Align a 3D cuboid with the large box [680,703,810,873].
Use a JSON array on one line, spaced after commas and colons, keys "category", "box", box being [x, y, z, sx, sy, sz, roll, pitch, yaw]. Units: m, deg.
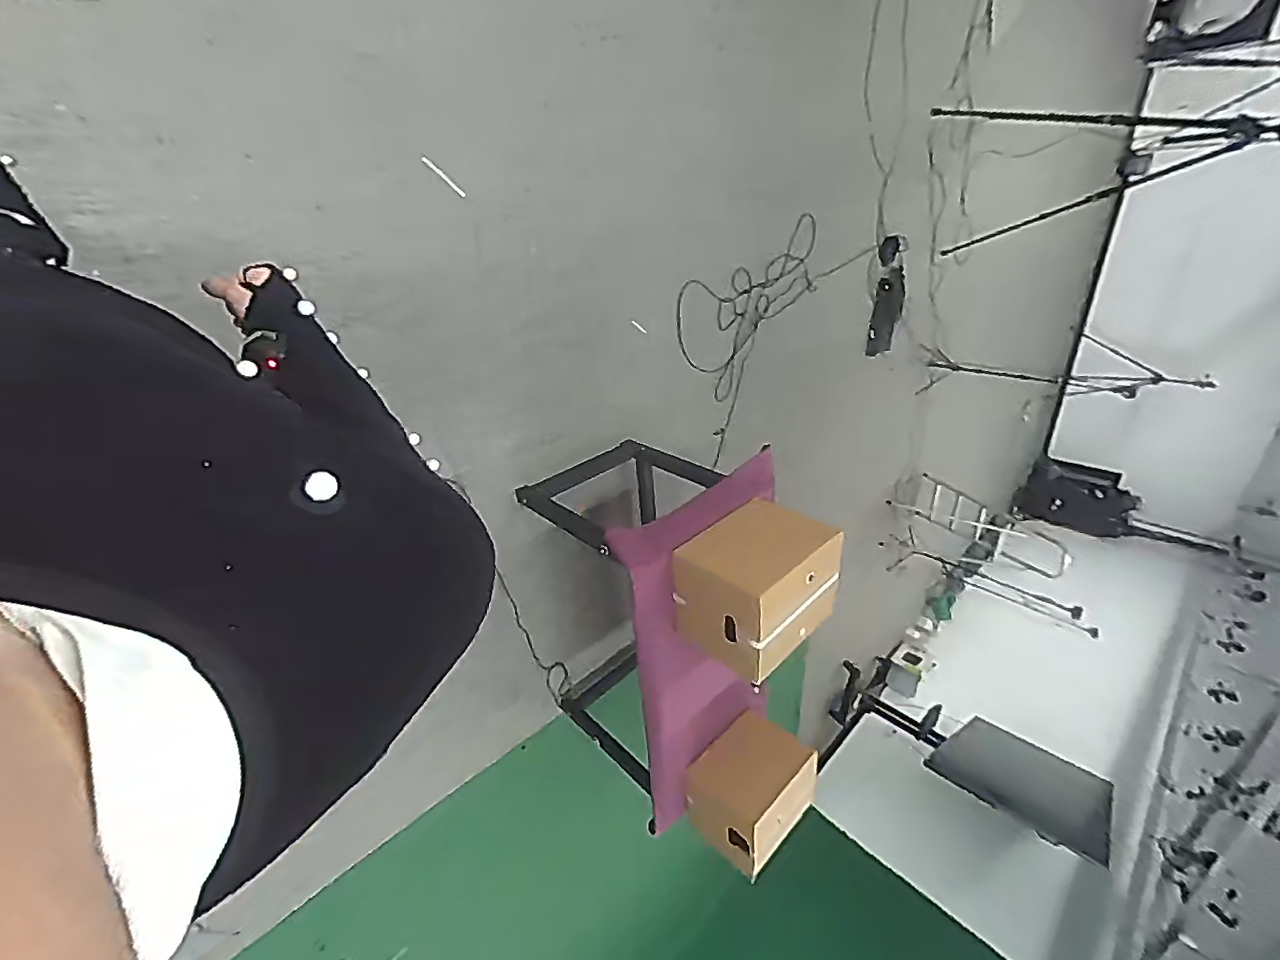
[{"category": "large box", "box": [0.405, 1.160, 2.082, 0.408, 0.320, 0.320, -25, 122, -36]}]
